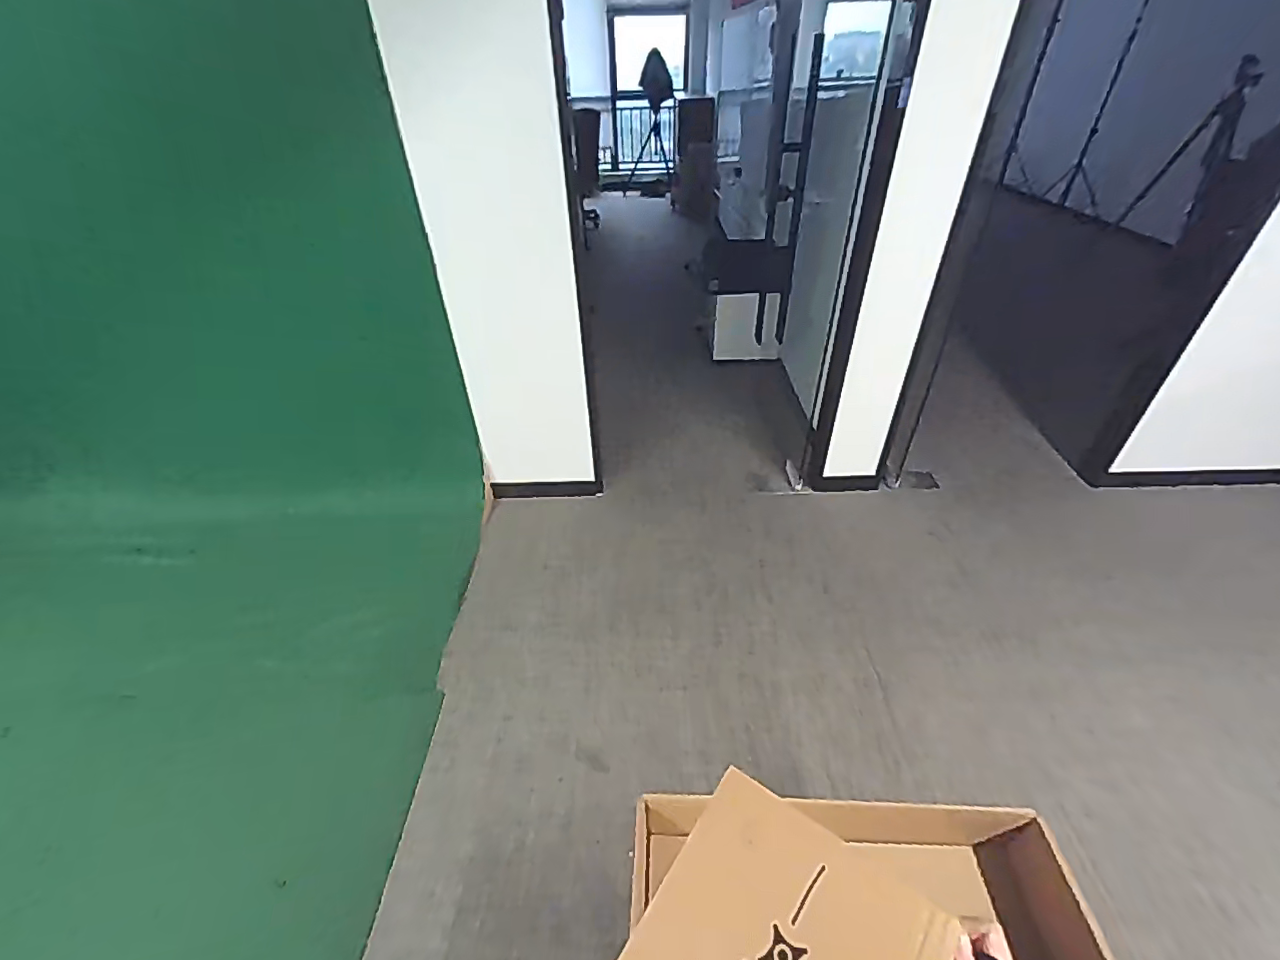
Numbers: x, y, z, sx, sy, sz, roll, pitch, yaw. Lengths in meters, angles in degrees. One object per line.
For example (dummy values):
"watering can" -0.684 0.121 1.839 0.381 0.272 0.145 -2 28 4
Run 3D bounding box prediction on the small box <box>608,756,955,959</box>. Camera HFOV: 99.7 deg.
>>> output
"small box" 0.097 0.348 0.384 0.168 0.176 0.179 21 53 33
